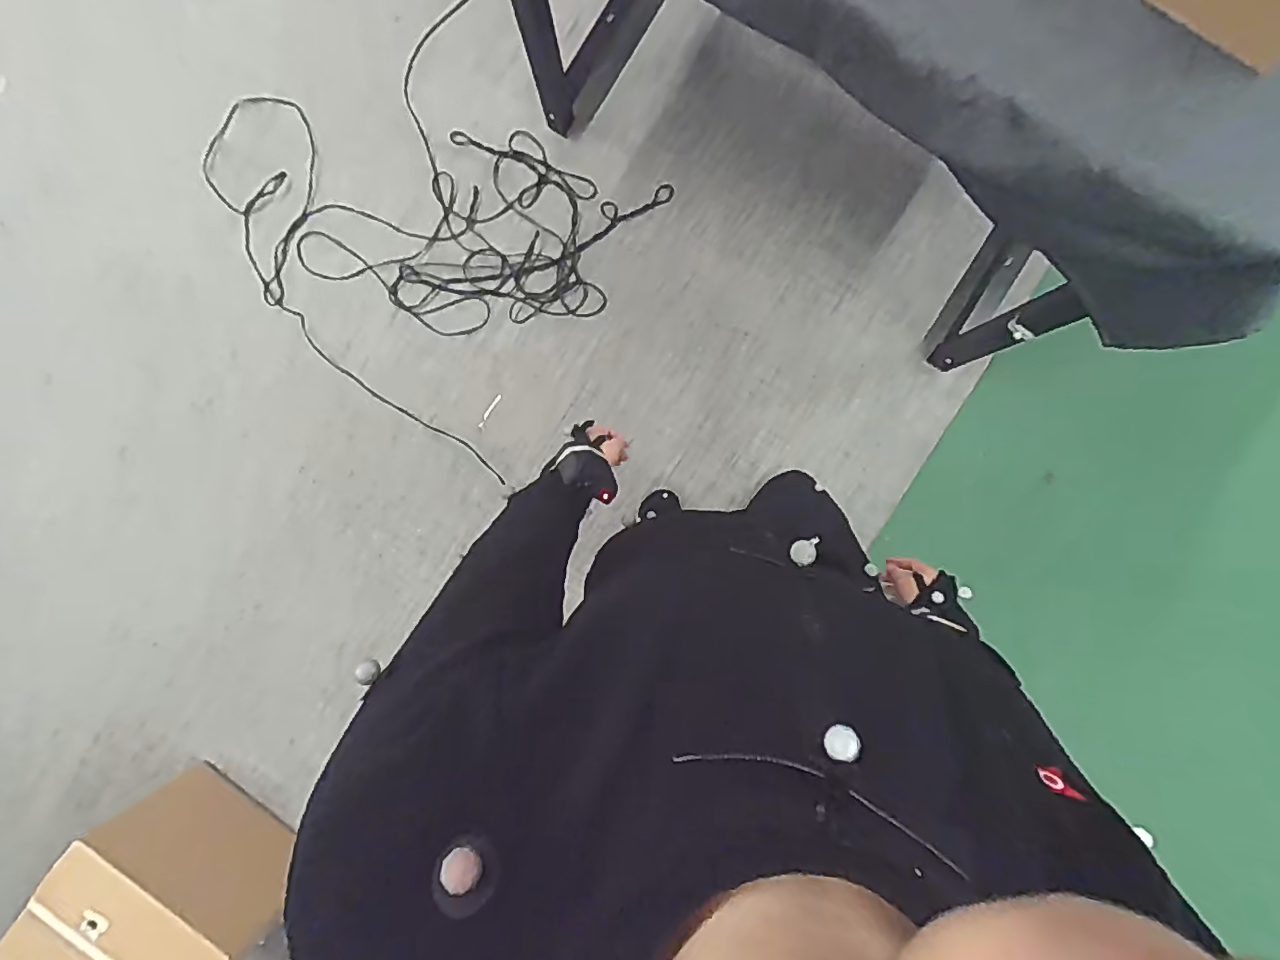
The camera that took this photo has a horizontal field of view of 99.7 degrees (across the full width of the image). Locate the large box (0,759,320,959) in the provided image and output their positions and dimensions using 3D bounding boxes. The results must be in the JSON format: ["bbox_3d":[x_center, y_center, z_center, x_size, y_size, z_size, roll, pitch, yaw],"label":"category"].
[{"bbox_3d":[-1.059,0.946,1.236,0.408,0.320,0.320,37,91,2],"label":"large box"}]
